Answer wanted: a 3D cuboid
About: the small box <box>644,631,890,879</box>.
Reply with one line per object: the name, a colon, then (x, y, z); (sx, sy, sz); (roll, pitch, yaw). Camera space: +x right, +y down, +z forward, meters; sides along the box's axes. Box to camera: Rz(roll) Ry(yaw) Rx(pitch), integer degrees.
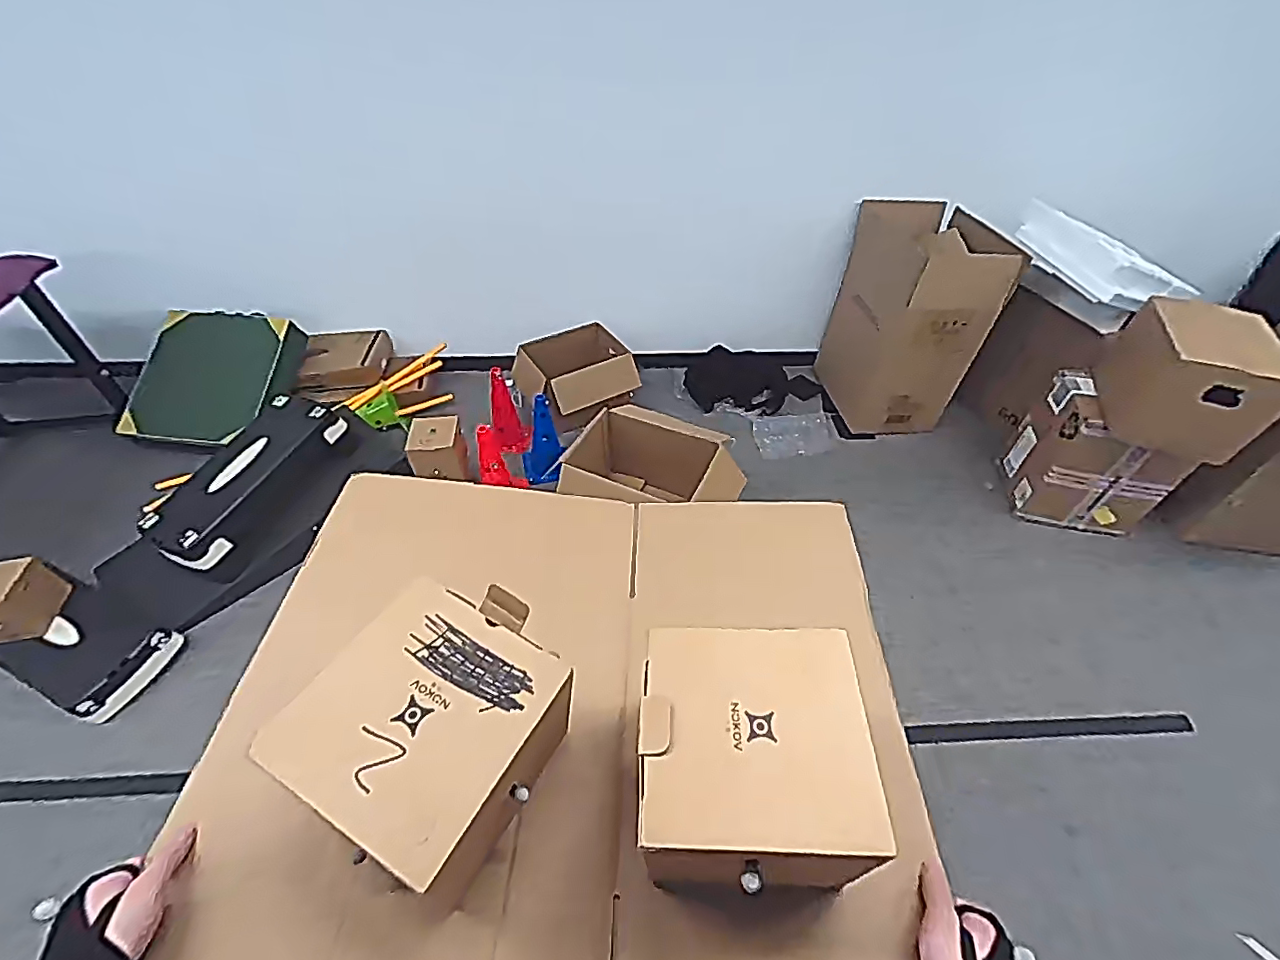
small box: (0.098, 0.252, 0.493); (0.179, 0.176, 0.168); (-2, 48, 5)
